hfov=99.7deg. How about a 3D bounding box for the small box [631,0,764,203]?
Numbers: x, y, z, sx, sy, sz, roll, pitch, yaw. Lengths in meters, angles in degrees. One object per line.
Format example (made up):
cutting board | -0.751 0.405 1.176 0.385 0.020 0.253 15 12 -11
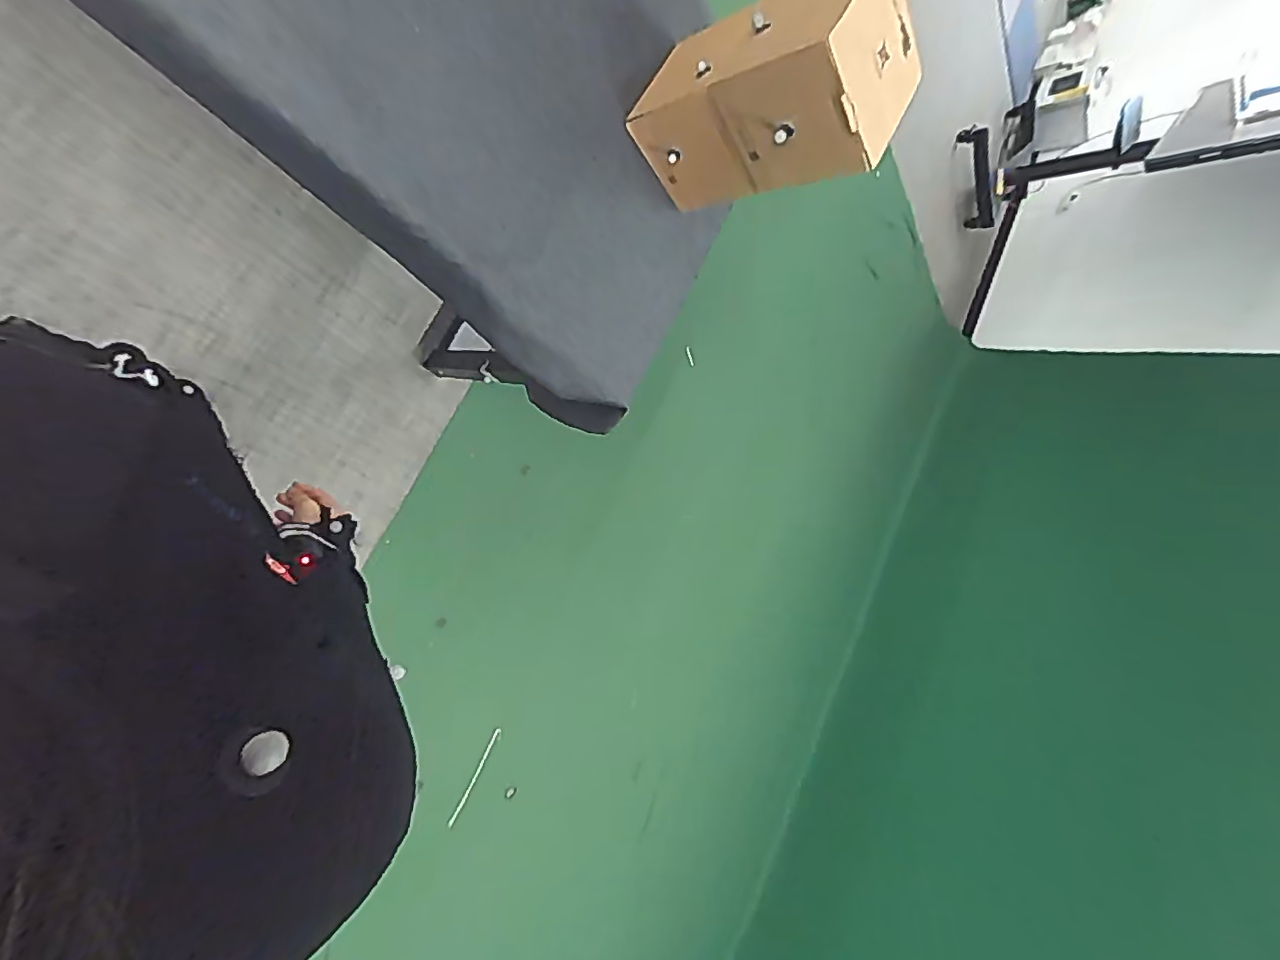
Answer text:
small box | 0.116 -0.551 0.809 0.168 0.176 0.179 40 74 -43

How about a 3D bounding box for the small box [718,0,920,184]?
small box | 0.223 -0.514 0.691 0.168 0.176 0.179 41 75 -43
